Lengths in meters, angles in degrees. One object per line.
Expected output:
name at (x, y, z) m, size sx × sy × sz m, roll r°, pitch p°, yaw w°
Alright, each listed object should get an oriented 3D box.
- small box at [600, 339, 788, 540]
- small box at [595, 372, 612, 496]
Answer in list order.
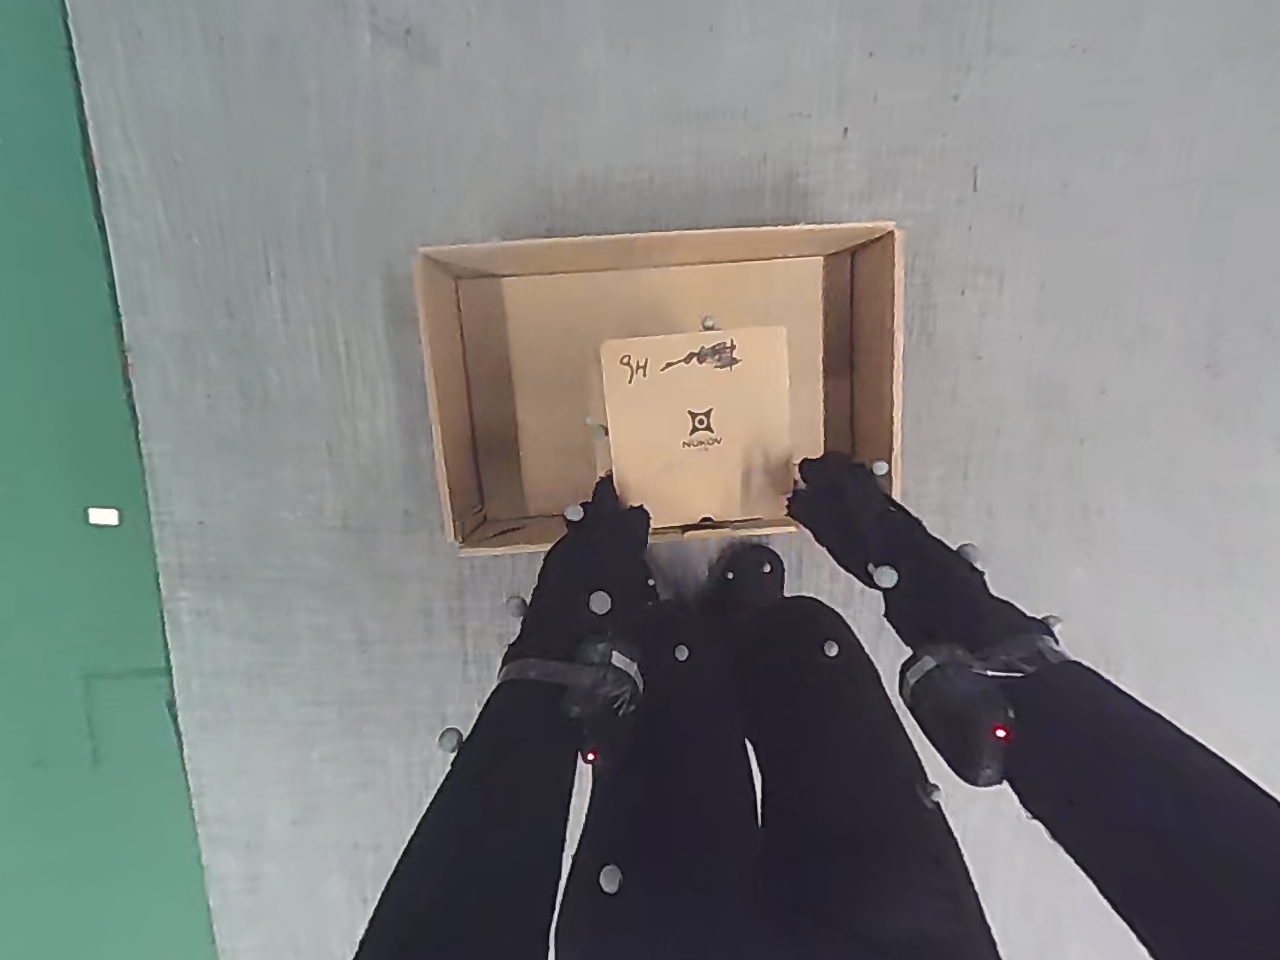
small box at (0.050, -0.049, 0.568) m, size 0.168 × 0.176 × 0.179 m, roll -5°, pitch 100°, yaw -2°
small box at (0.027, -0.072, 0.783) m, size 0.179 × 0.176 × 0.168 m, roll -2°, pitch 98°, yaw -1°
